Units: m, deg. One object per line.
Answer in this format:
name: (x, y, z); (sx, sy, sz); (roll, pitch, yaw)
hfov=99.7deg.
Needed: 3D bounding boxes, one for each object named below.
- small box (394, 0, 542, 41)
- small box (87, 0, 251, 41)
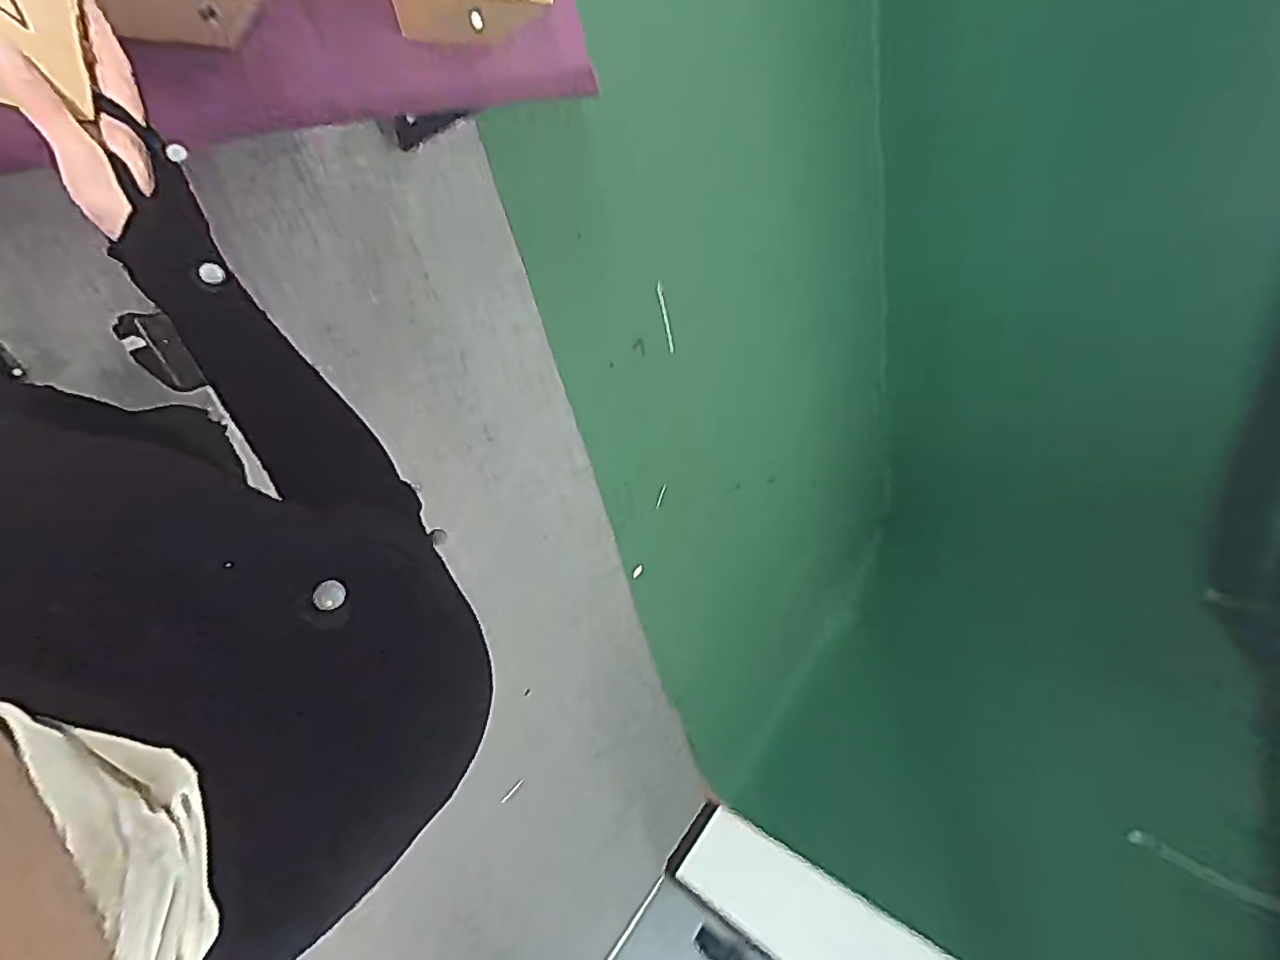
small box: (-0.267, -0.776, 0.790); (0.179, 0.176, 0.168); (-33, 121, -37)
small box: (-0.534, -0.581, 0.547); (0.179, 0.176, 0.168); (-30, 118, -39)
